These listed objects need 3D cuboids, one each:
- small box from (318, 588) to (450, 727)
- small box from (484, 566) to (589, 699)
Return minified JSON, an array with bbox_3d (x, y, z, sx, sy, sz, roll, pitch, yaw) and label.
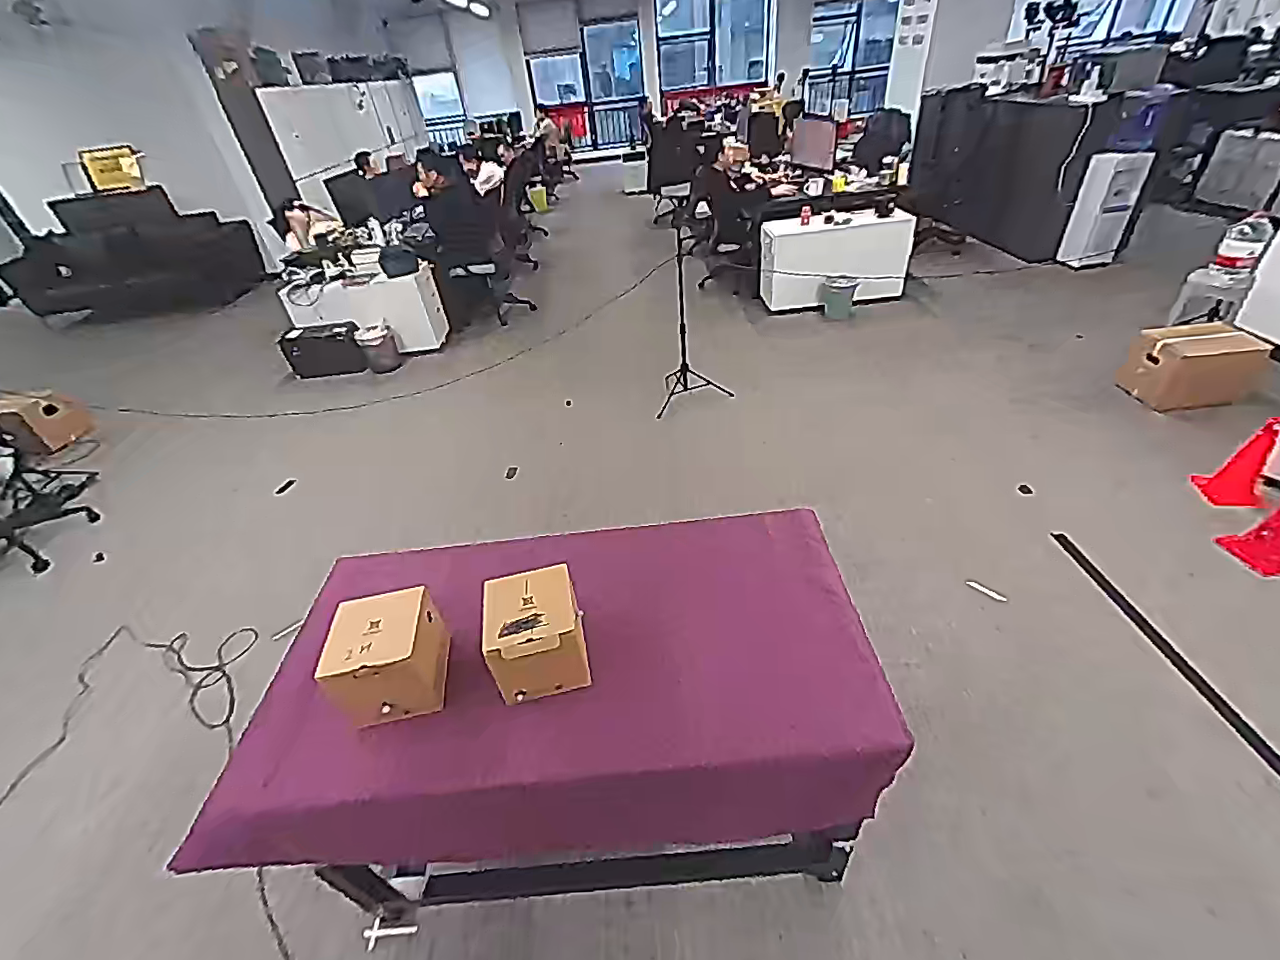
[{"bbox_3d":[-0.478,0.341,1.045,0.168,0.176,0.179,-11,37,-5],"label":"small box"},{"bbox_3d":[-0.199,0.301,1.053,0.168,0.176,0.179,-12,36,-6],"label":"small box"}]
